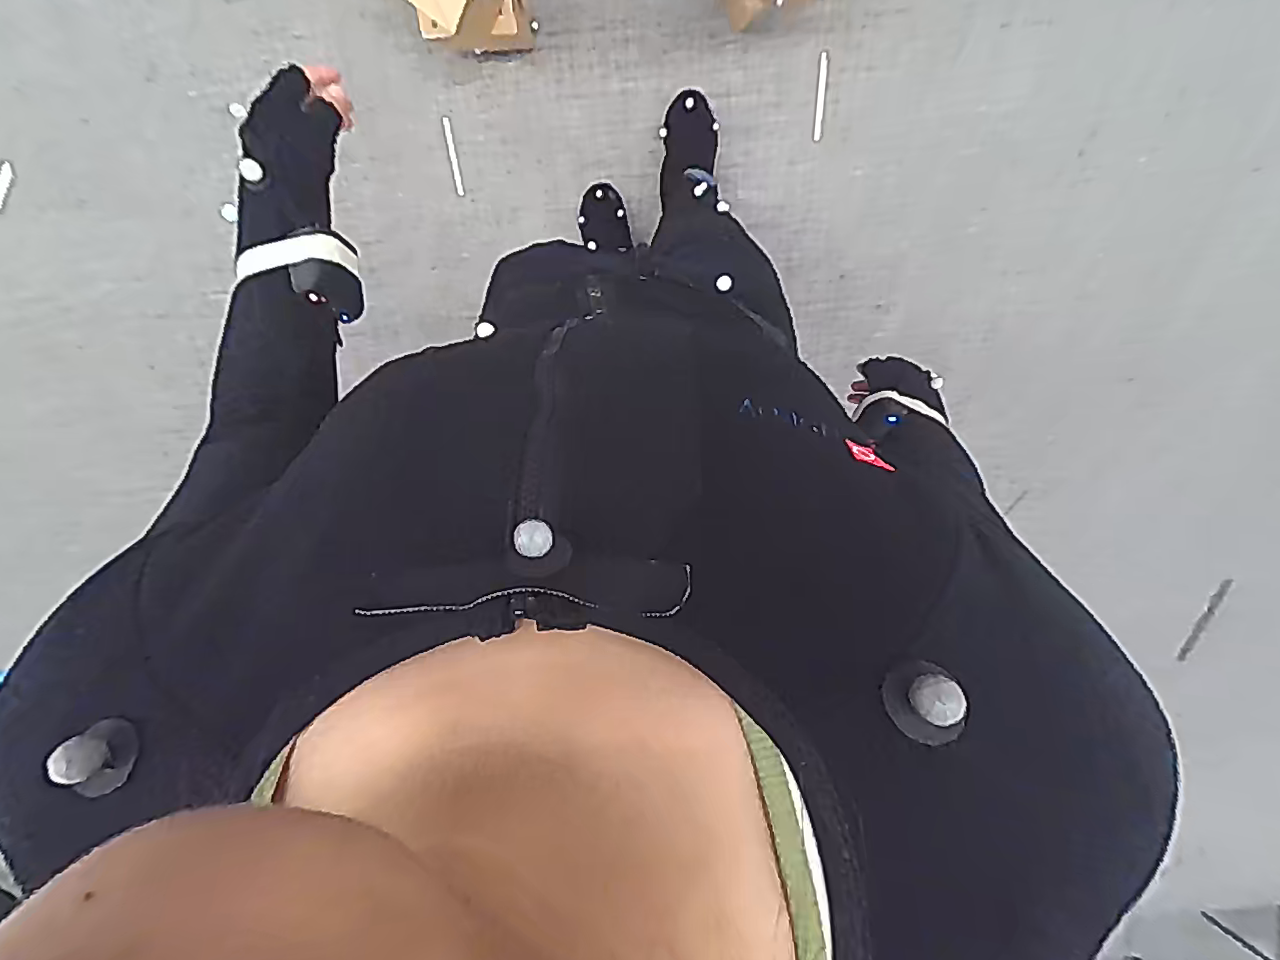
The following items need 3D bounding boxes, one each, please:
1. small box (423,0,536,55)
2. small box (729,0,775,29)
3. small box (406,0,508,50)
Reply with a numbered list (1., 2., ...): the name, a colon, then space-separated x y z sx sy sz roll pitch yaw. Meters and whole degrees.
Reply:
1. small box: -0.296 -0.905 1.001 0.179 0.176 0.168 0 121 4
2. small box: 0.225 -0.949 0.951 0.179 0.176 0.168 -32 115 19
3. small box: -0.308 -0.828 0.852 0.179 0.176 0.168 26 118 -14
